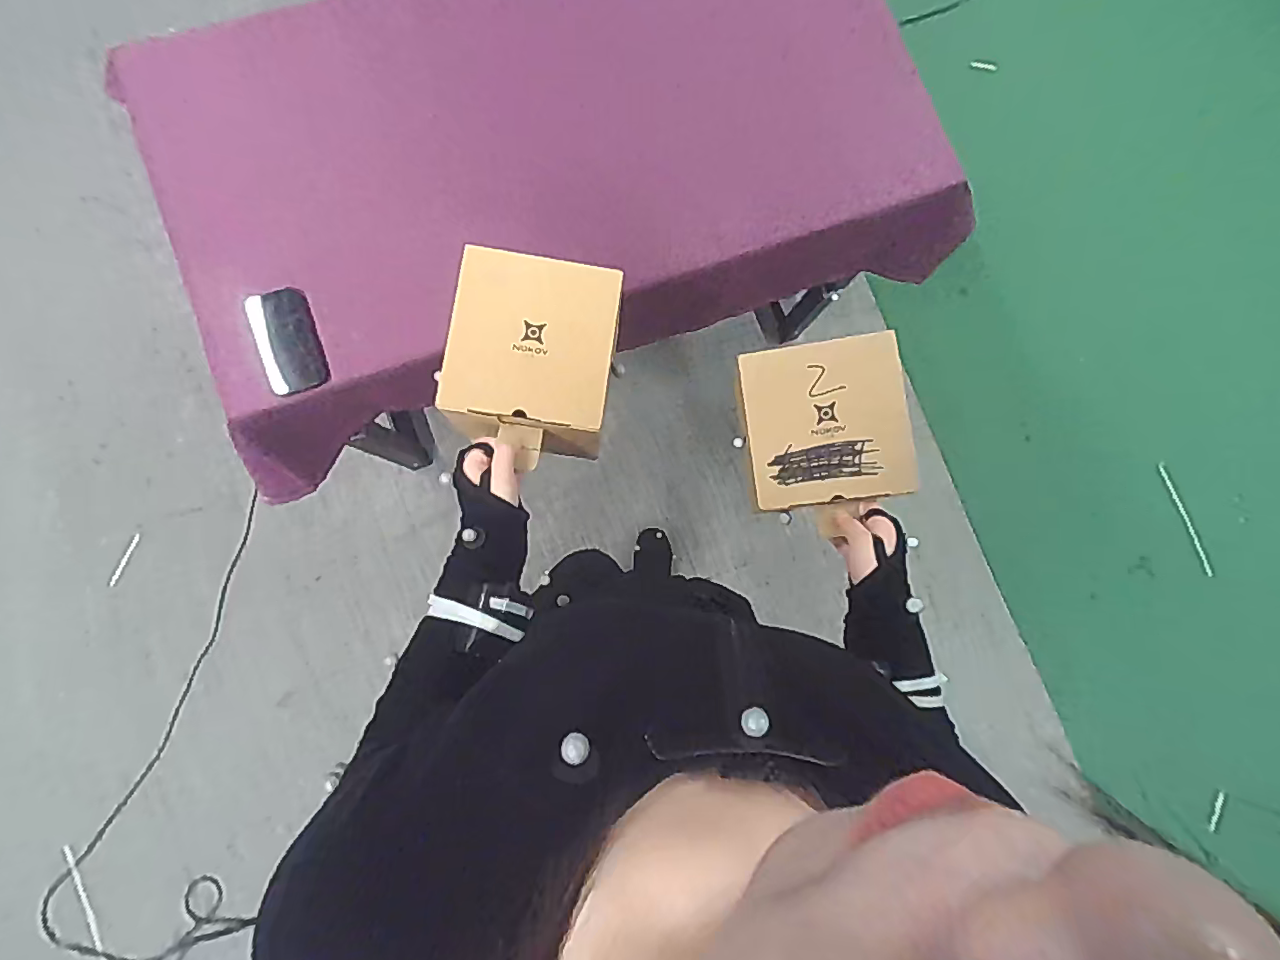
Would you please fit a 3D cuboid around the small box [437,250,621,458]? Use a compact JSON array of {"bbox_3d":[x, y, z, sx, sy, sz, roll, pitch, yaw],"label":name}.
[{"bbox_3d":[-0.120,-0.134,0.633,0.168,0.176,0.179,8,83,-4],"label":"small box"}]
